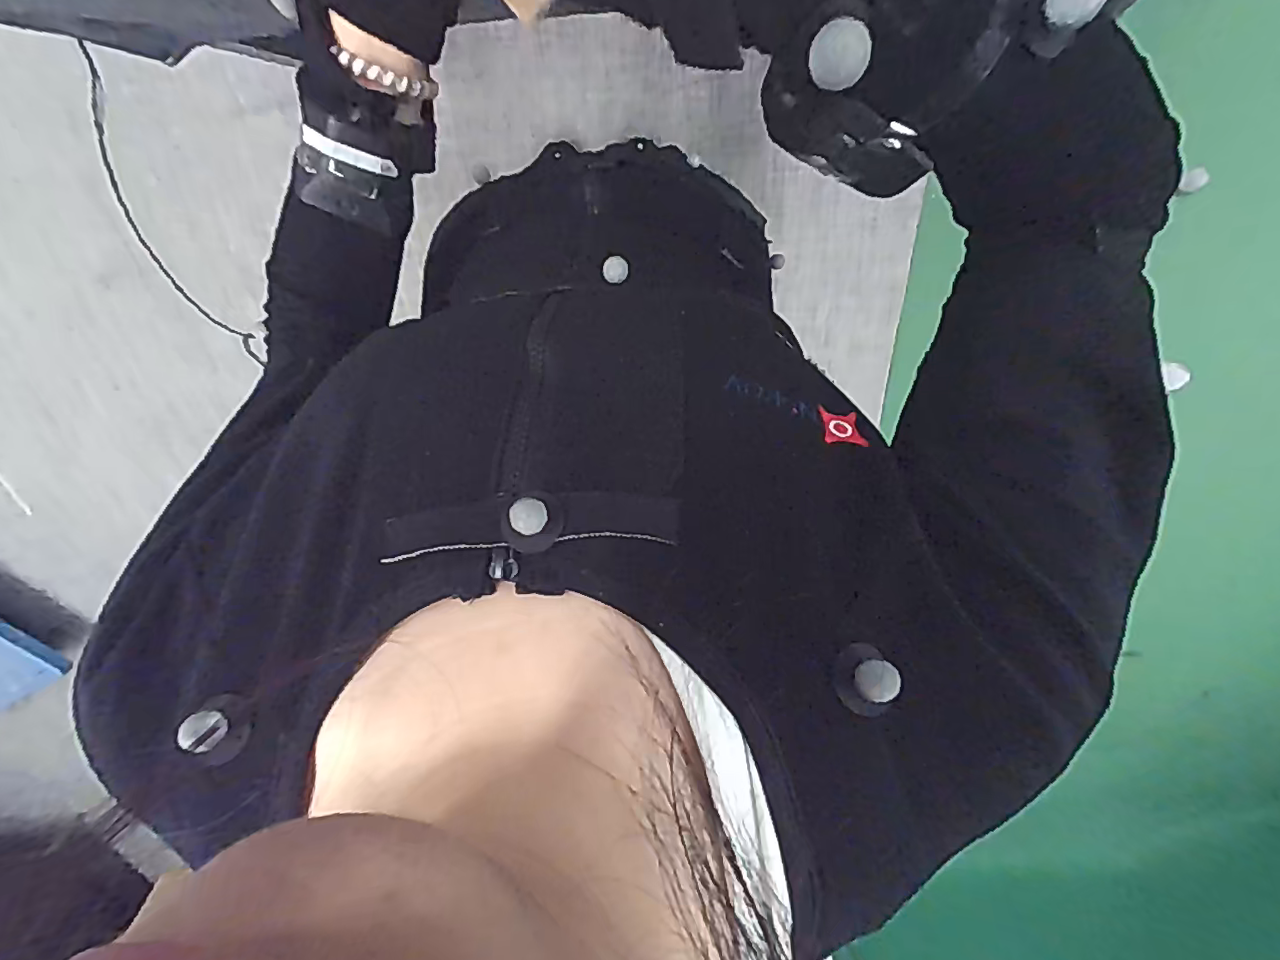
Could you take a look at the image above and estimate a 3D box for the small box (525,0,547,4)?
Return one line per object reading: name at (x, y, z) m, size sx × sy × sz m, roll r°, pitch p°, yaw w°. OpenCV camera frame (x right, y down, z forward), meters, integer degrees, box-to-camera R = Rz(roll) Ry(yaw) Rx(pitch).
small box at (-0.044, -0.314, 0.179) m, size 0.168 × 0.176 × 0.179 m, roll 32°, pitch 114°, yaw -32°
